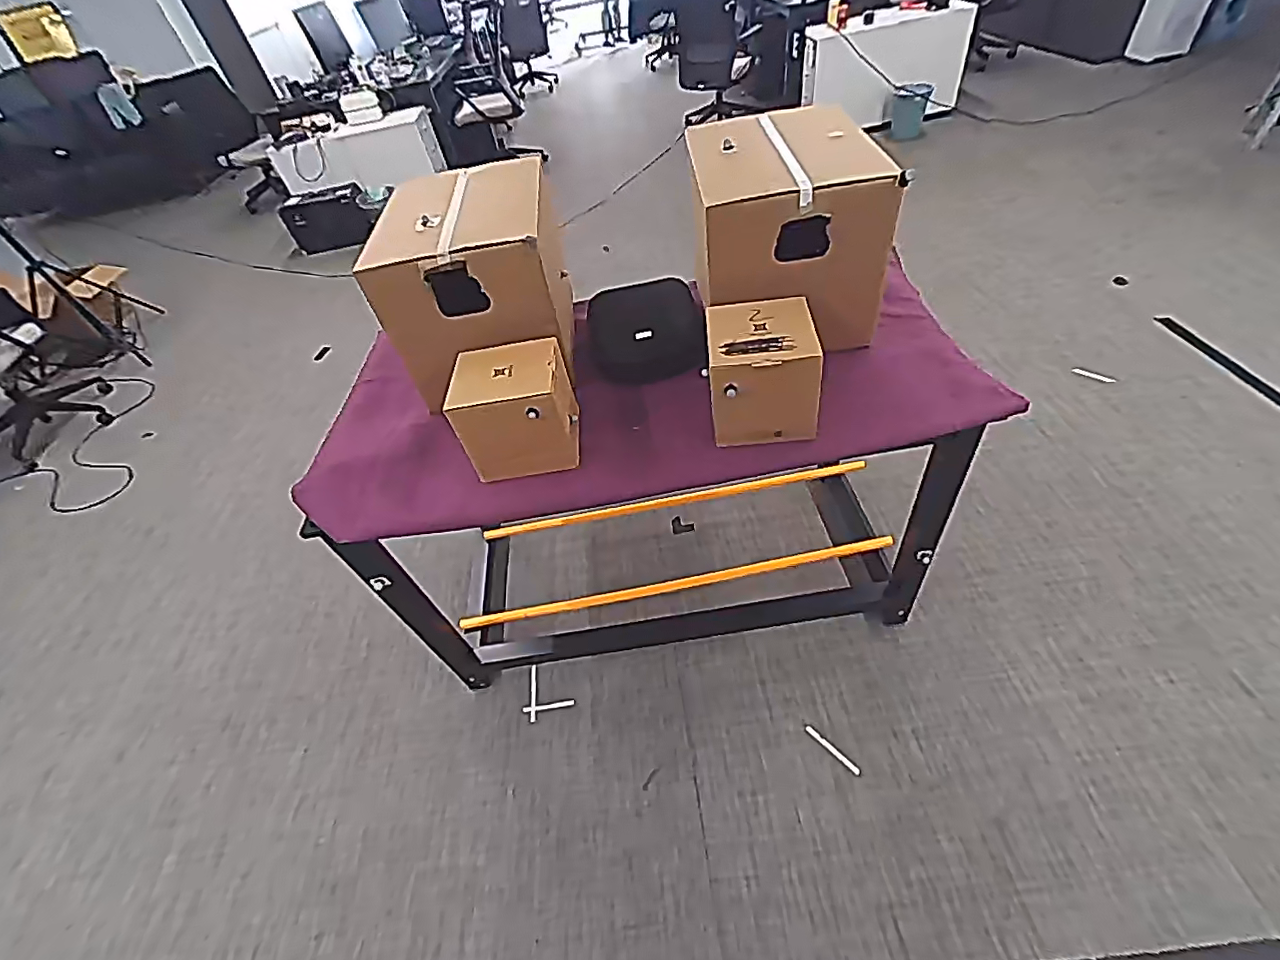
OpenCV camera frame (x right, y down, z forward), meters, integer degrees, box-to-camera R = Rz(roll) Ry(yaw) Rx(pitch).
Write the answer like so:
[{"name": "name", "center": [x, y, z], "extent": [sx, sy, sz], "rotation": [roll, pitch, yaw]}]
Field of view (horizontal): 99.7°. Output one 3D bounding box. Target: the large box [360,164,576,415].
[{"name": "large box", "center": [-0.322, -0.400, 1.129], "extent": [0.320, 0.320, 0.408], "rotation": [-11, 49, 2]}]
